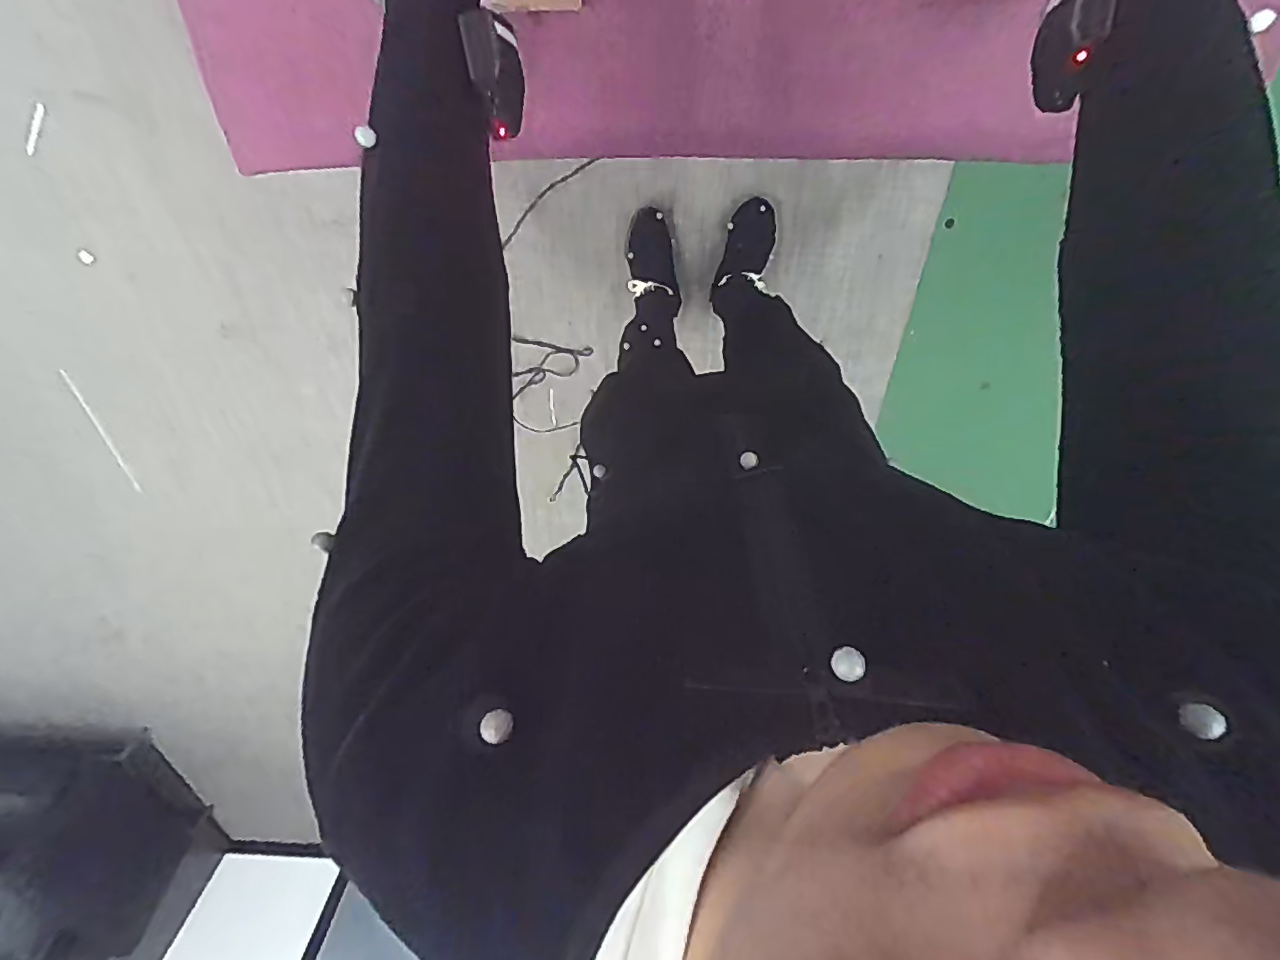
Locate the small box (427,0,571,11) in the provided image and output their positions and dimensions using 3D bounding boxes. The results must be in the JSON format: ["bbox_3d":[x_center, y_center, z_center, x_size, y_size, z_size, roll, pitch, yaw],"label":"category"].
[{"bbox_3d":[-0.154,-0.543,0.476,0.168,0.176,0.179,1,124,2],"label":"small box"}]
